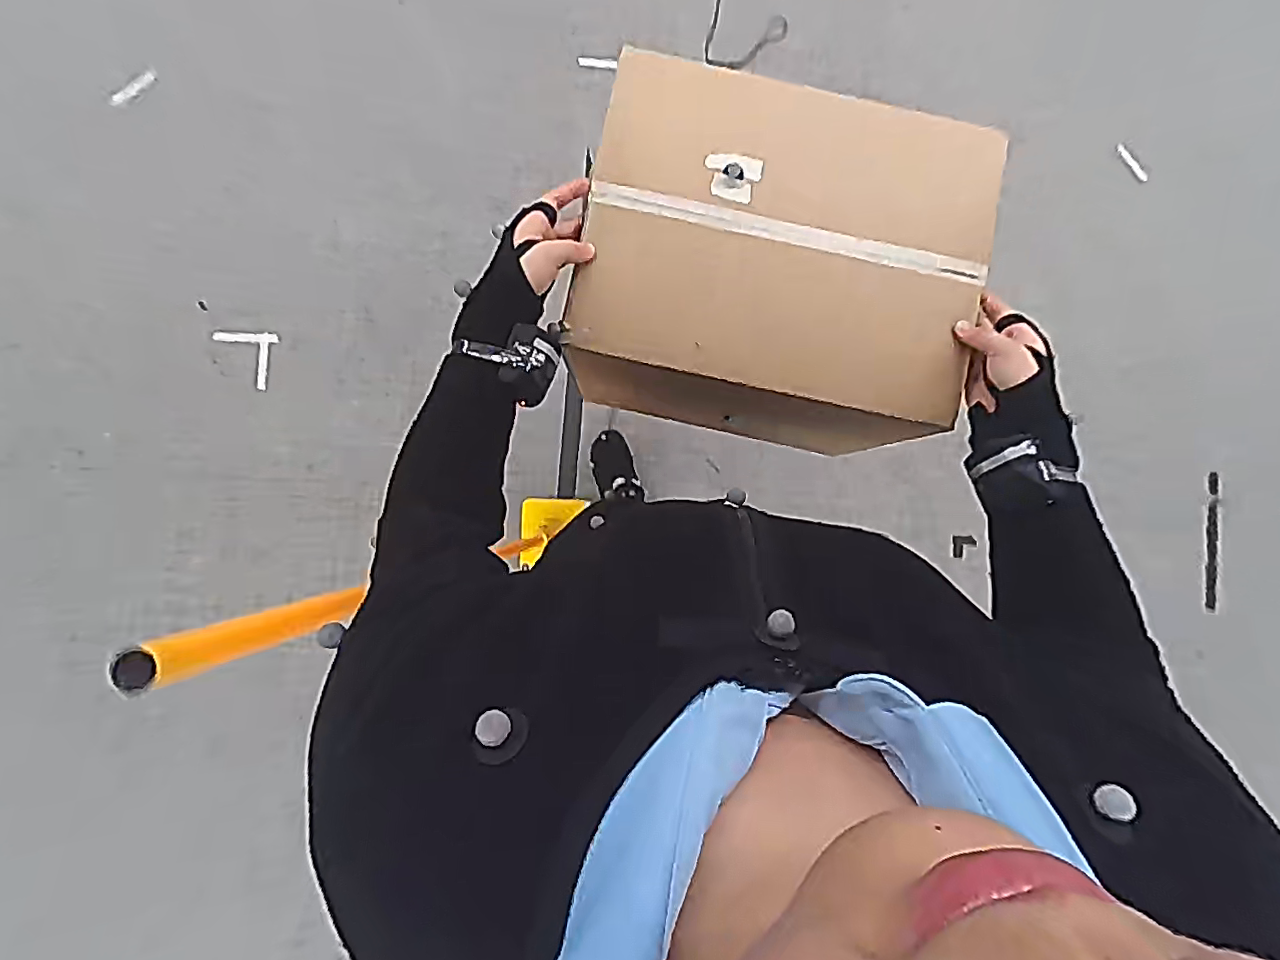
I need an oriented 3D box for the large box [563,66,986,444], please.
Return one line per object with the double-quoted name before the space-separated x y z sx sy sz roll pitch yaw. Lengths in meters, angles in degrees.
"large box" 0.142 -0.242 0.705 0.408 0.320 0.320 11 86 0
